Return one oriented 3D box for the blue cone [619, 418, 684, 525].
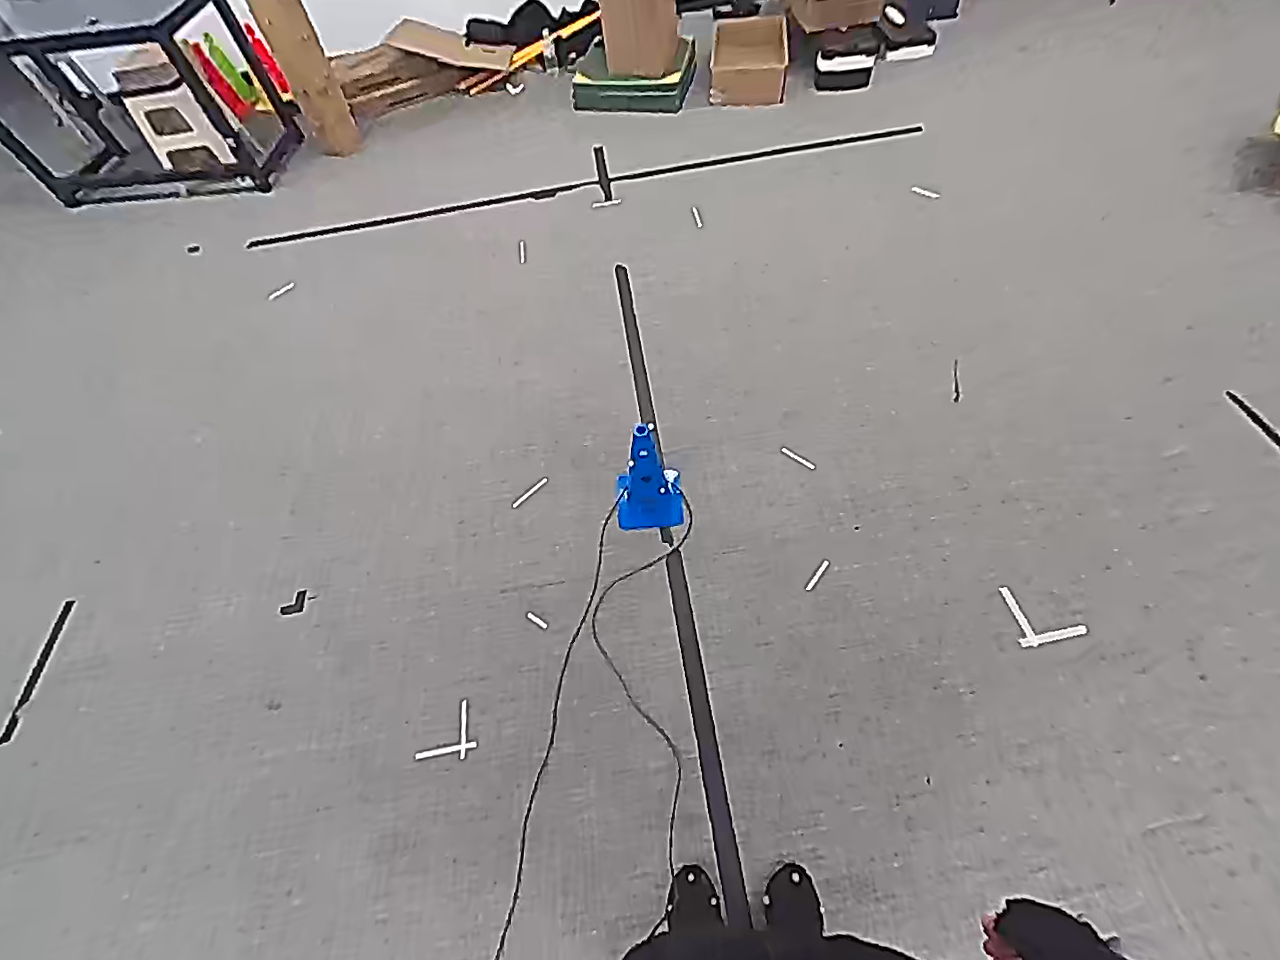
[{"bbox_3d":[0.020,-0.037,1.517,0.193,0.380,0.192,-7,58,2],"label":"blue cone"}]
